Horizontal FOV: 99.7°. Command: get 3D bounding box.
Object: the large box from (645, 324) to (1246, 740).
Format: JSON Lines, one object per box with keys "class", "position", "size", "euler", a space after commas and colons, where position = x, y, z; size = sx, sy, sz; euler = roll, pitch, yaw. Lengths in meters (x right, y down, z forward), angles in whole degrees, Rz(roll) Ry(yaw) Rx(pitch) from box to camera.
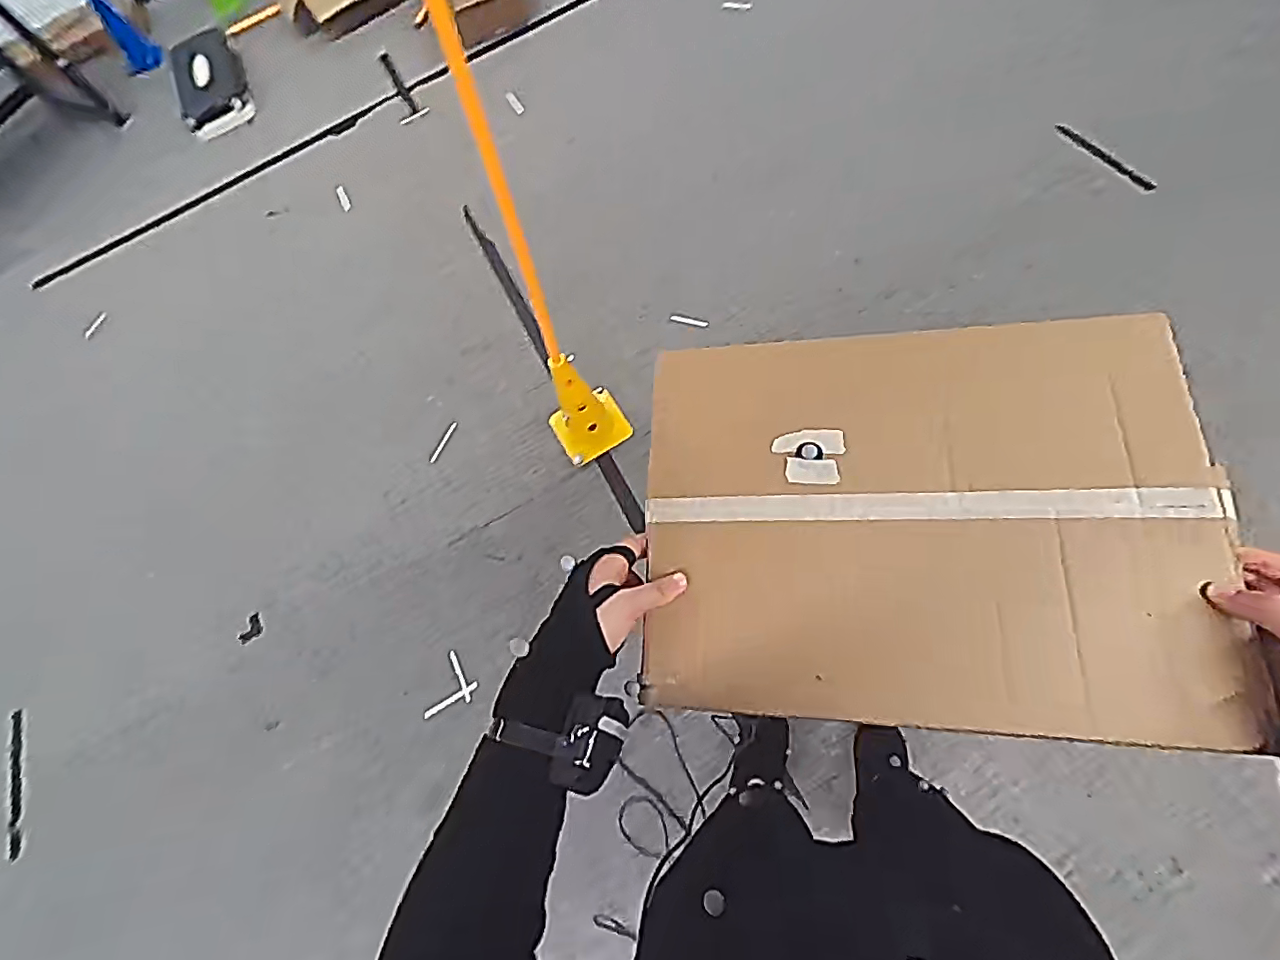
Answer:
{"class": "large box", "position": [0.238, 0.076, 0.573], "size": [0.408, 0.320, 0.320], "euler": [-3, 70, 15]}
